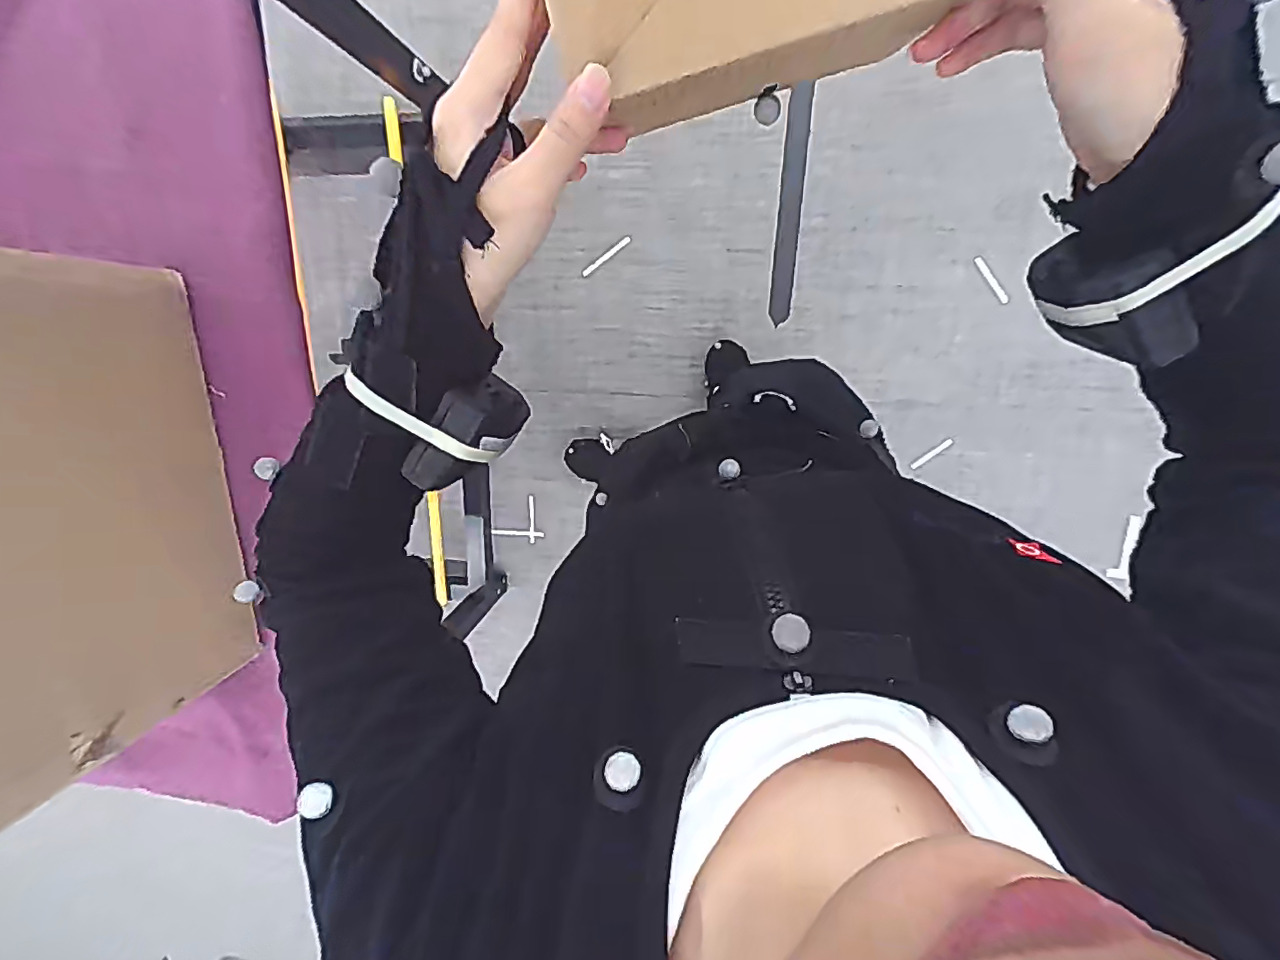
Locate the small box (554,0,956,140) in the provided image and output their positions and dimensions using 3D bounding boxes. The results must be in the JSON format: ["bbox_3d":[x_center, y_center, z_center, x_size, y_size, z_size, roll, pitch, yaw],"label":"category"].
[{"bbox_3d":[0.042,-0.280,0.247,0.179,0.176,0.168,-10,117,11],"label":"small box"}]
